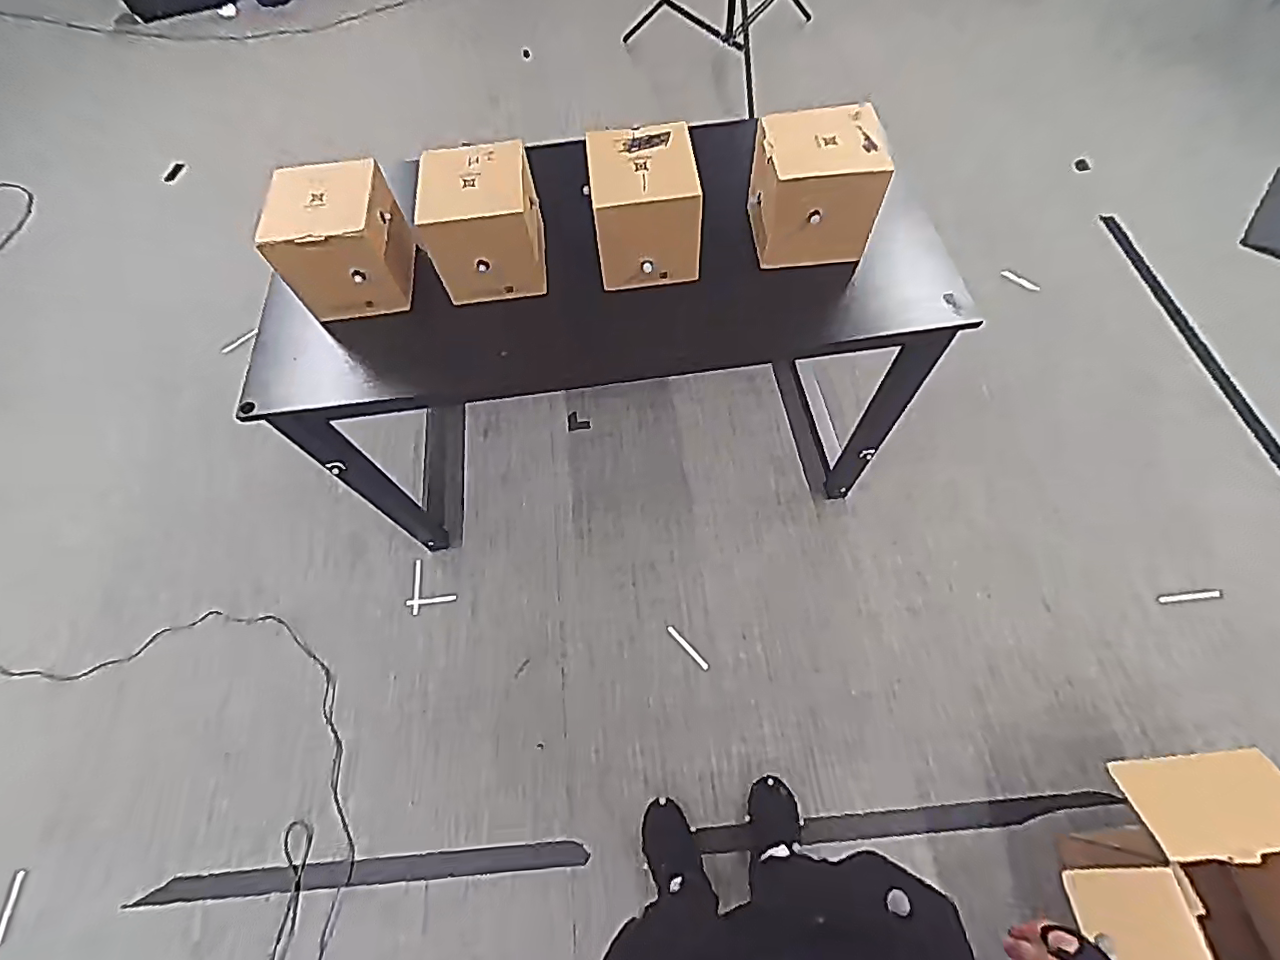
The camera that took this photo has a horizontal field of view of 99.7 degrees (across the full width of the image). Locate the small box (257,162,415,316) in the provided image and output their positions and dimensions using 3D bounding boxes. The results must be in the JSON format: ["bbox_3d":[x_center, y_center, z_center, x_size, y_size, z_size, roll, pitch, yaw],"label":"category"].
[{"bbox_3d":[-0.496,-0.395,0.912,0.168,0.176,0.179,-7,63,-1],"label":"small box"}]

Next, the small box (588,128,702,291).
[{"bbox_3d":[0.006,-0.447,0.906,0.168,0.176,0.179,-7,64,0],"label":"small box"}]

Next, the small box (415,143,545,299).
[{"bbox_3d":[-0.258,-0.424,0.910,0.168,0.176,0.179,-6,64,0],"label":"small box"}]

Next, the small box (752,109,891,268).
[{"bbox_3d":[0.286,-0.477,0.903,0.179,0.176,0.168,-5,64,2],"label":"small box"}]
